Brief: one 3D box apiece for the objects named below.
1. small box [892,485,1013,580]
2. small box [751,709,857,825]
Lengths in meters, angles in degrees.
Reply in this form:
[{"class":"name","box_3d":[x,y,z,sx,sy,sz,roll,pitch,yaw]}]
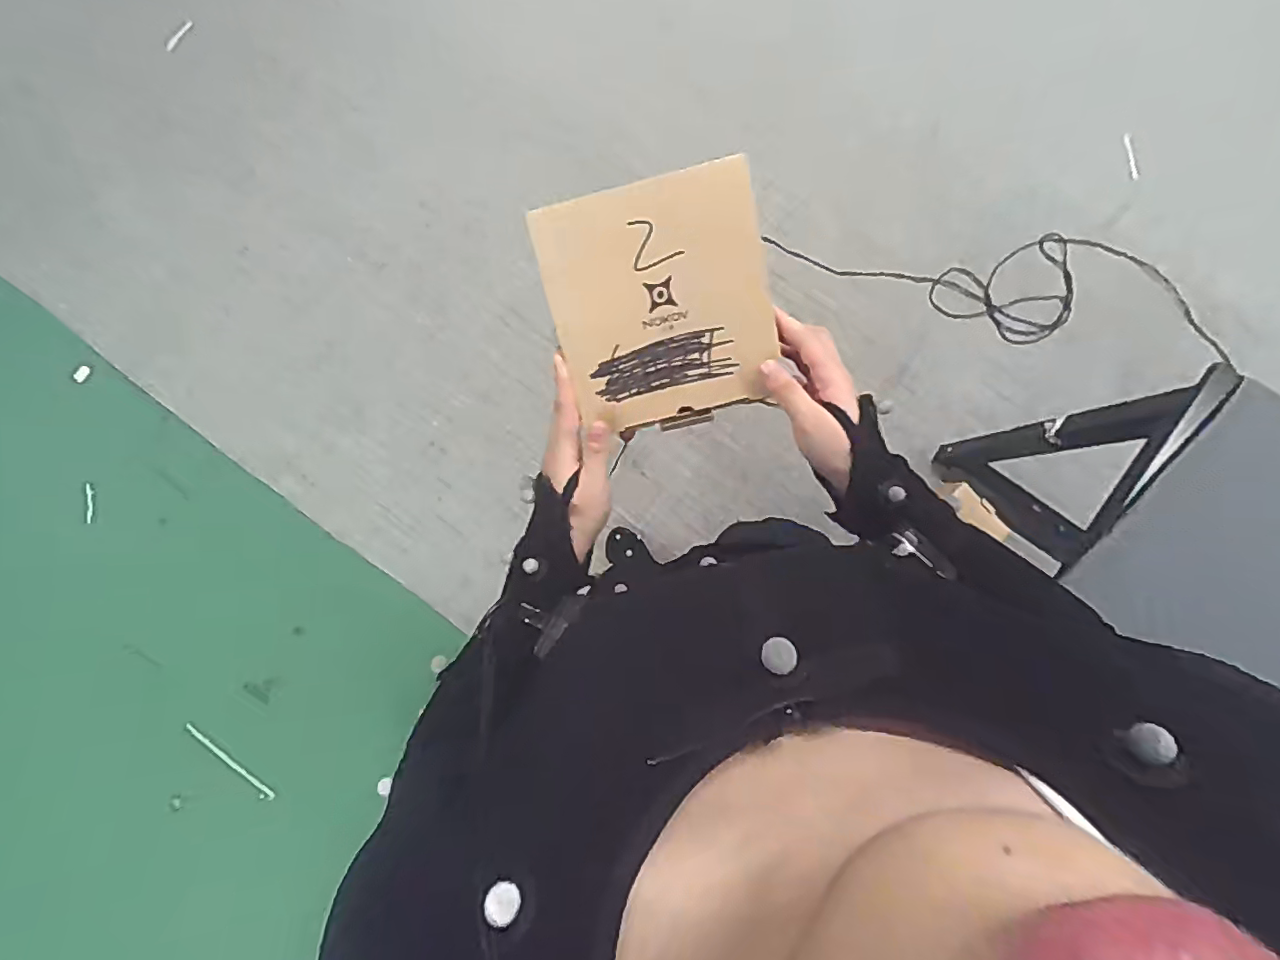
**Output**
[{"class":"small box","box_3d":[0.795,0.134,1.397,0.179,0.176,0.168,-41,86,-3]},{"class":"small box","box_3d":[0.400,0.704,1.356,0.179,0.176,0.168,31,87,3]}]
